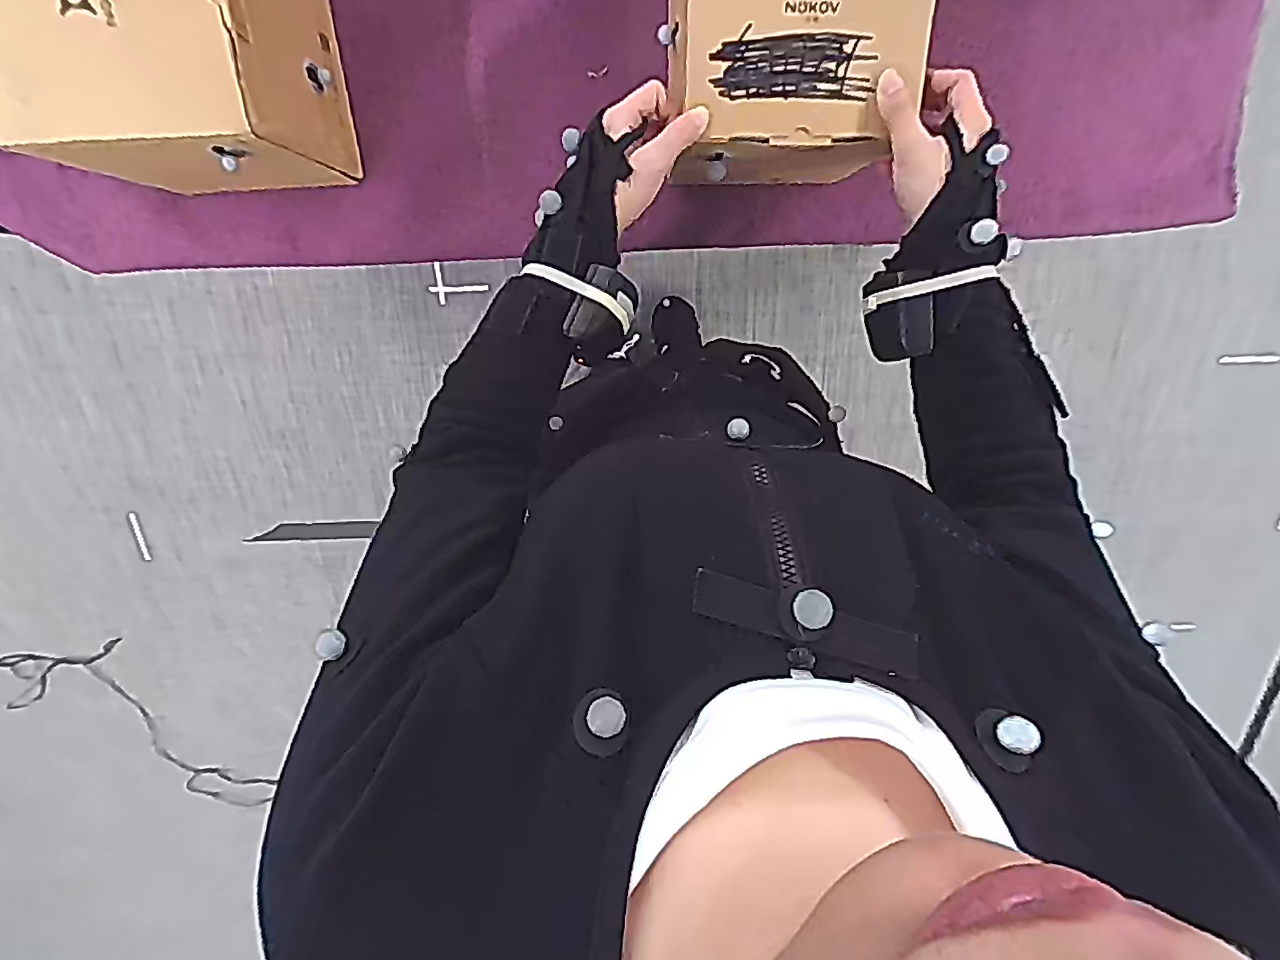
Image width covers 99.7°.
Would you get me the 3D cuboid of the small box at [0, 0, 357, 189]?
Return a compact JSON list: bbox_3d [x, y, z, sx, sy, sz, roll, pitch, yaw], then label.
[{"bbox_3d":[-0.358,-0.335,0.418,0.179,0.176,0.168,-5,109,-1],"label":"small box"}]
